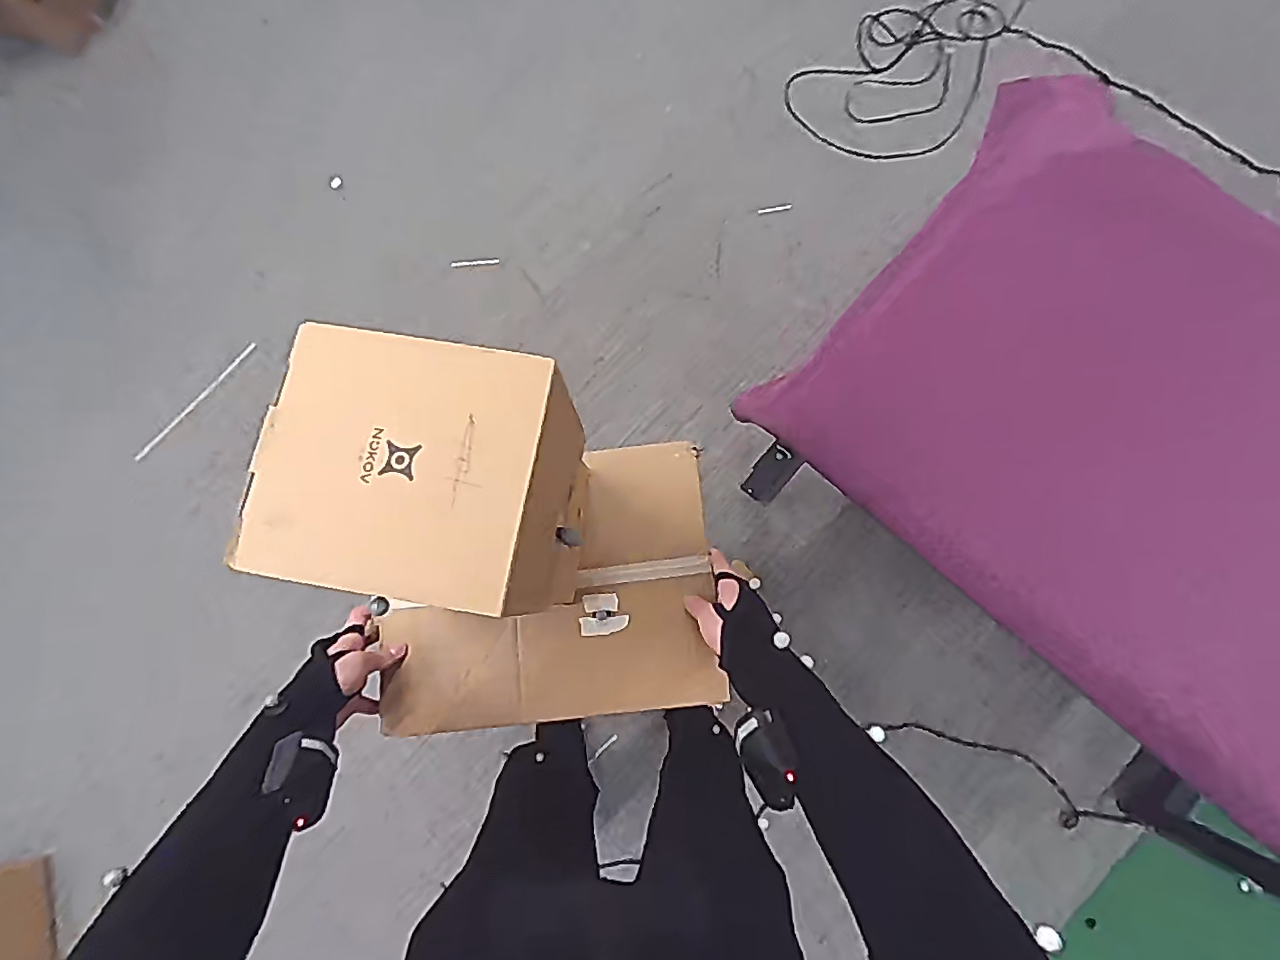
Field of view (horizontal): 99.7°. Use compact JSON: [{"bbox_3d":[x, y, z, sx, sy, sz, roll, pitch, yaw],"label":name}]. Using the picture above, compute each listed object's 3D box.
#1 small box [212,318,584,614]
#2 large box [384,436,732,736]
[{"bbox_3d":[-0.151,0.003,0.407,0.179,0.176,0.168,10,78,4],"label":"small box"},{"bbox_3d":[-0.106,0.149,0.789,0.408,0.320,0.320,-7,79,0],"label":"large box"}]
